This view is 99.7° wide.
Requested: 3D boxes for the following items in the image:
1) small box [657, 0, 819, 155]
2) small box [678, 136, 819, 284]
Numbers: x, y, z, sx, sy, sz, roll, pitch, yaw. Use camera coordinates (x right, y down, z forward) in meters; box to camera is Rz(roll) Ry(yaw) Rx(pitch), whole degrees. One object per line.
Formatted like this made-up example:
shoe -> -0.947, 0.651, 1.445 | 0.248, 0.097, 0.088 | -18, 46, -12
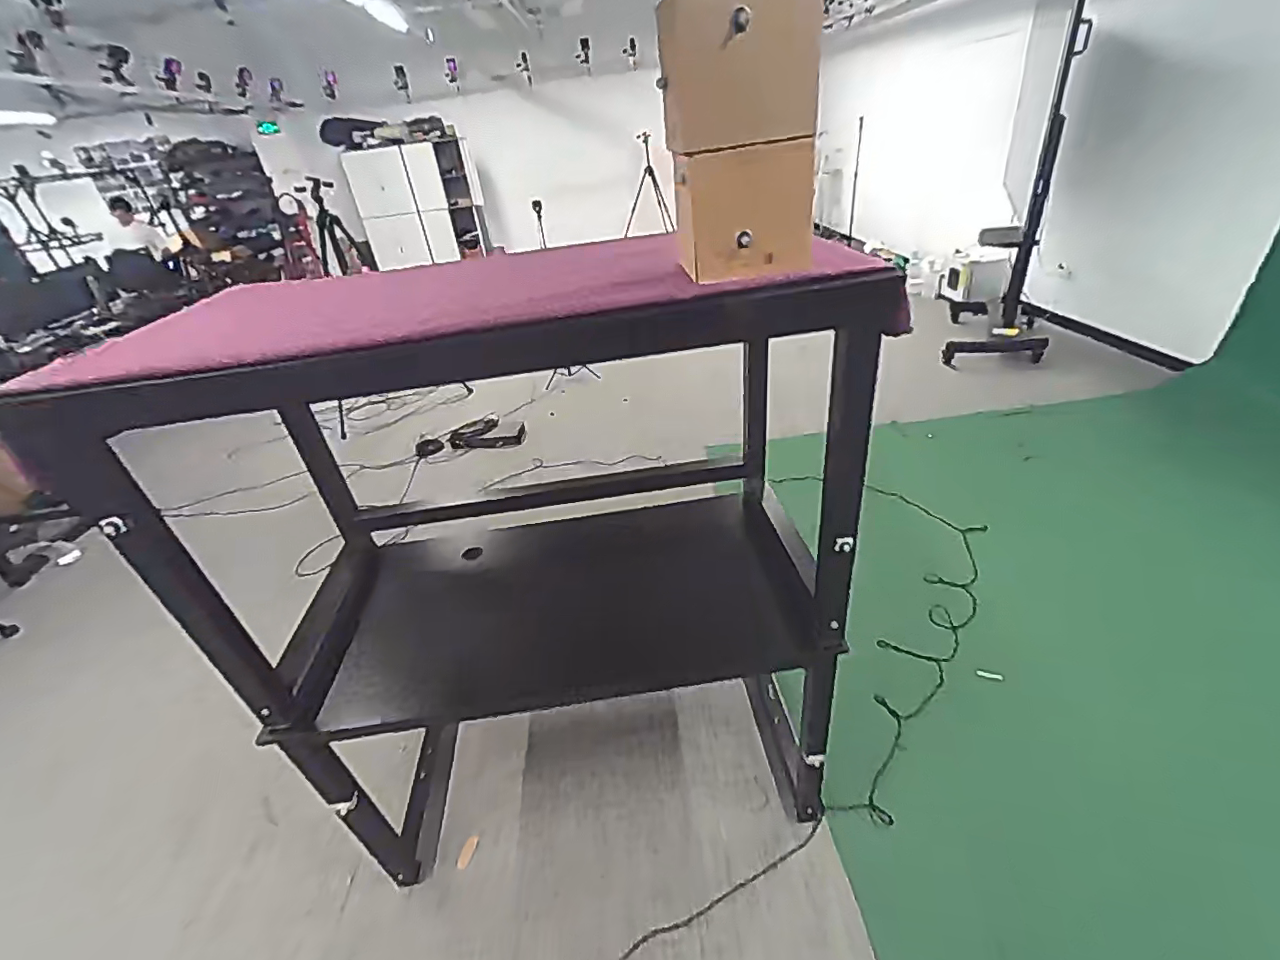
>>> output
small box -> 0.125, -0.532, 0.704 | 0.179, 0.176, 0.168 | -9, 34, 0
small box -> 0.150, -0.400, 0.800 | 0.168, 0.176, 0.179 | -8, 33, 0
